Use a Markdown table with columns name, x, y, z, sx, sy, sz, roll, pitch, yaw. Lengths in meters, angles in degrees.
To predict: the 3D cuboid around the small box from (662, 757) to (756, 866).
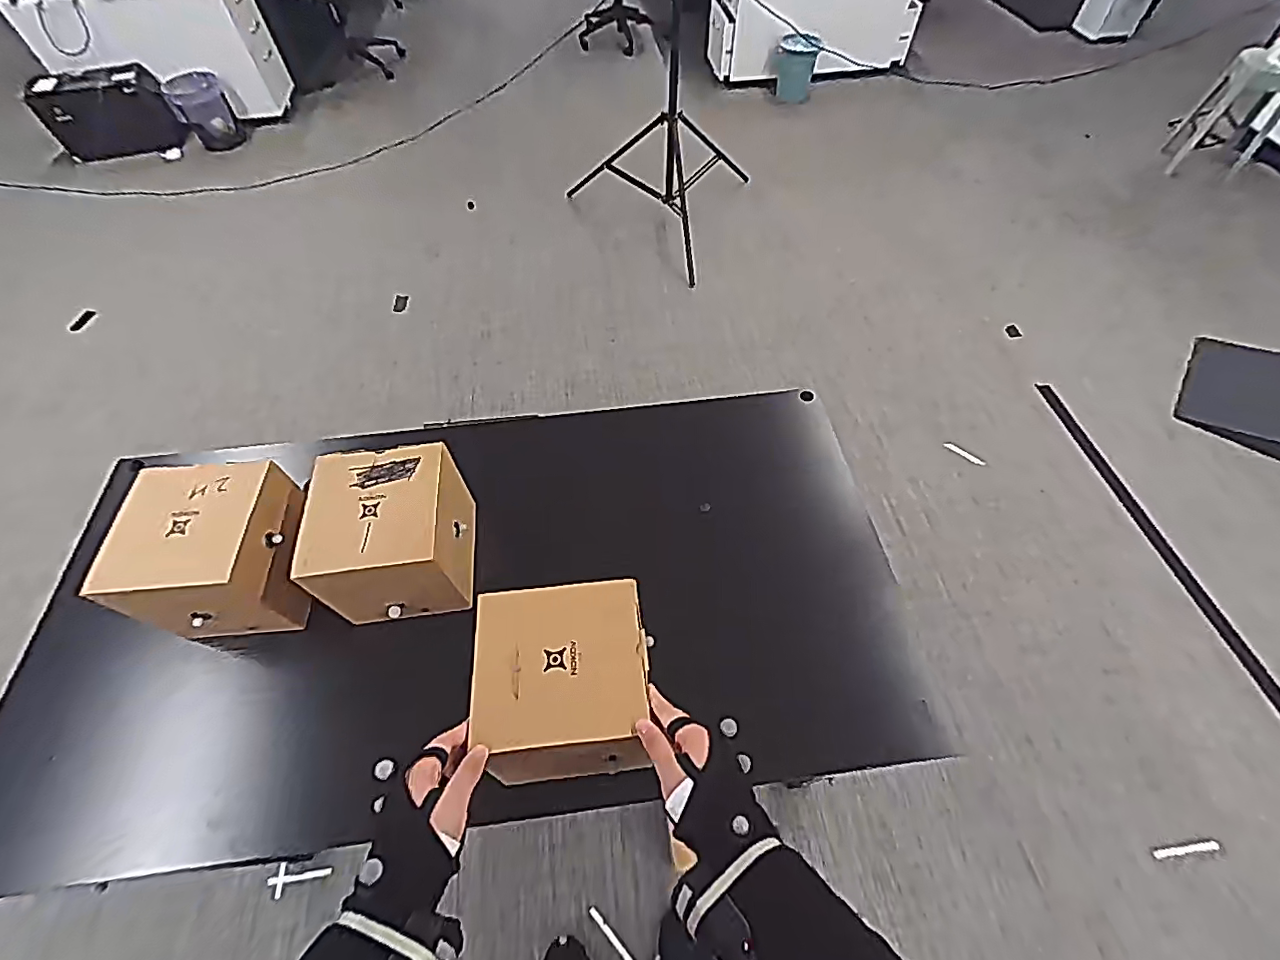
| name | x | y | z | sx | sy | sz | roll | pitch | yaw |
| --- | --- | --- | --- | --- | --- | --- | --- | --- | --- |
| small box | 0.140 | 0.720 | 1.174 | 0.168 | 0.176 | 0.179 | -8 | 56 | -3 |

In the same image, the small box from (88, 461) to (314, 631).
| name | x | y | z | sx | sy | sz | roll | pitch | yaw |
| --- | --- | --- | --- | --- | --- | --- | --- | --- | --- |
| small box | -0.552 | 0.096 | 0.728 | 0.168 | 0.176 | 0.179 | -4 | 56 | -3 |

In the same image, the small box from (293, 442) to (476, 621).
| name | x | y | z | sx | sy | sz | roll | pitch | yaw |
| --- | --- | --- | --- | --- | --- | --- | --- | --- | --- |
| small box | -0.329 | 0.073 | 0.738 | 0.168 | 0.176 | 0.179 | -7 | 58 | -4 |

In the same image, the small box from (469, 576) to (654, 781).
| name | x | y | z | sx | sy | sz | roll | pitch | yaw |
| --- | --- | --- | --- | --- | --- | --- | --- | --- | --- |
| small box | -0.081 | 0.229 | 0.616 | 0.179 | 0.176 | 0.168 | -7 | 52 | -3 |
